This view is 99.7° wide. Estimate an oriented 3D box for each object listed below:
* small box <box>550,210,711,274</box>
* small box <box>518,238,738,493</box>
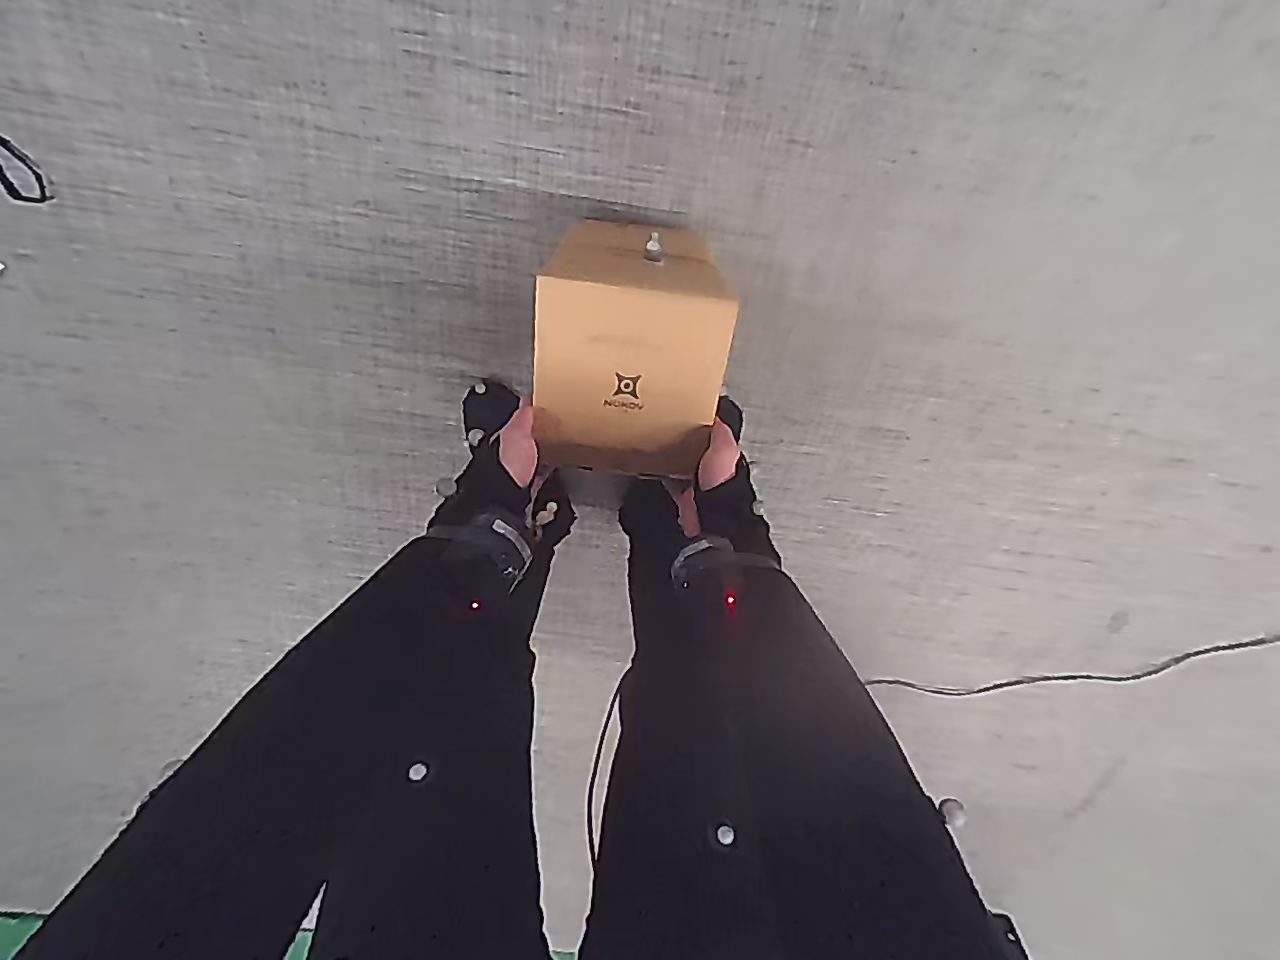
[{"bbox_3d":[-0.014,-0.206,0.647,0.168,0.176,0.179,6,125,-2],"label":"small box"},{"bbox_3d":[-0.017,-0.112,0.512,0.168,0.176,0.179,6,123,-5],"label":"small box"}]
